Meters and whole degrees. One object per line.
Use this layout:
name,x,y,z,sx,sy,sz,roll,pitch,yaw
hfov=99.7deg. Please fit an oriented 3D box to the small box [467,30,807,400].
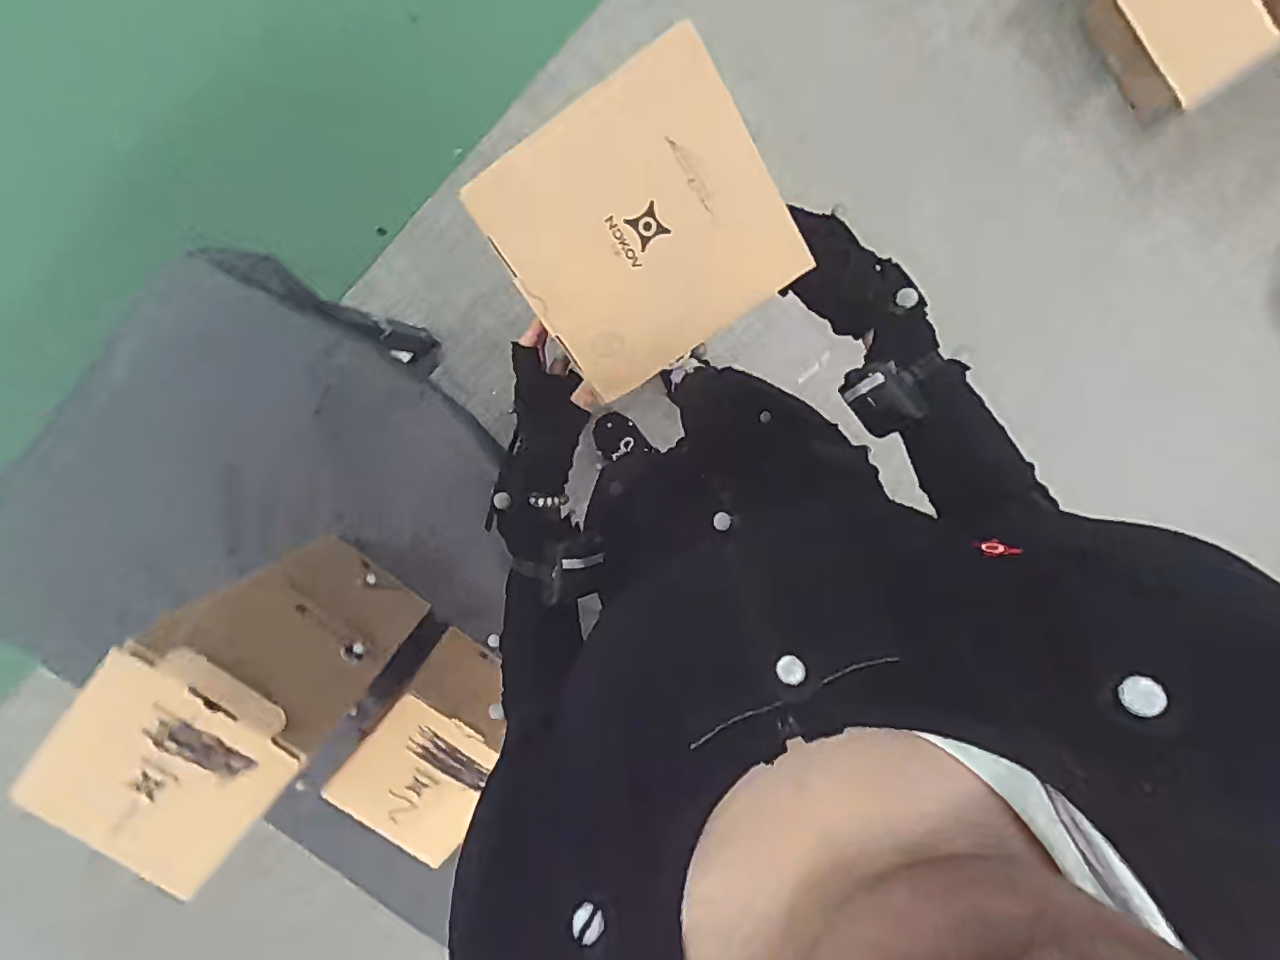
small box,-0.002,-0.188,0.435,0.179,0.176,0.168,-32,107,7

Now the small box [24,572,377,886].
small box,-0.388,0.218,0.520,0.168,0.176,0.179,40,97,-8
